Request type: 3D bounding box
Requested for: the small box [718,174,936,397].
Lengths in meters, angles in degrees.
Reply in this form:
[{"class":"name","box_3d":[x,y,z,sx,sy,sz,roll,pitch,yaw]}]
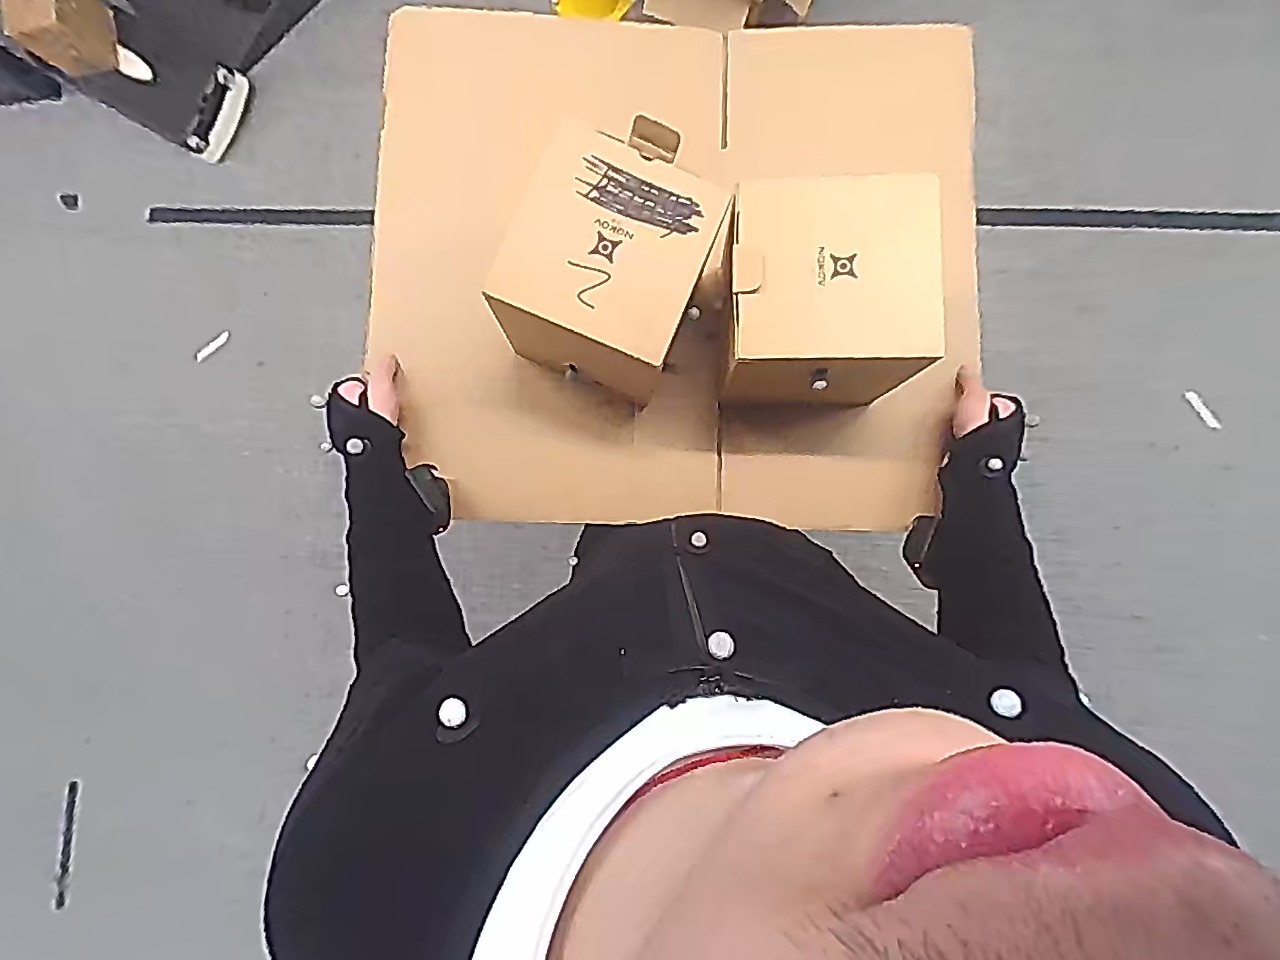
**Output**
[{"class":"small box","box_3d":[0.177,-0.186,0.560,0.179,0.176,0.168,0,85,4]}]
